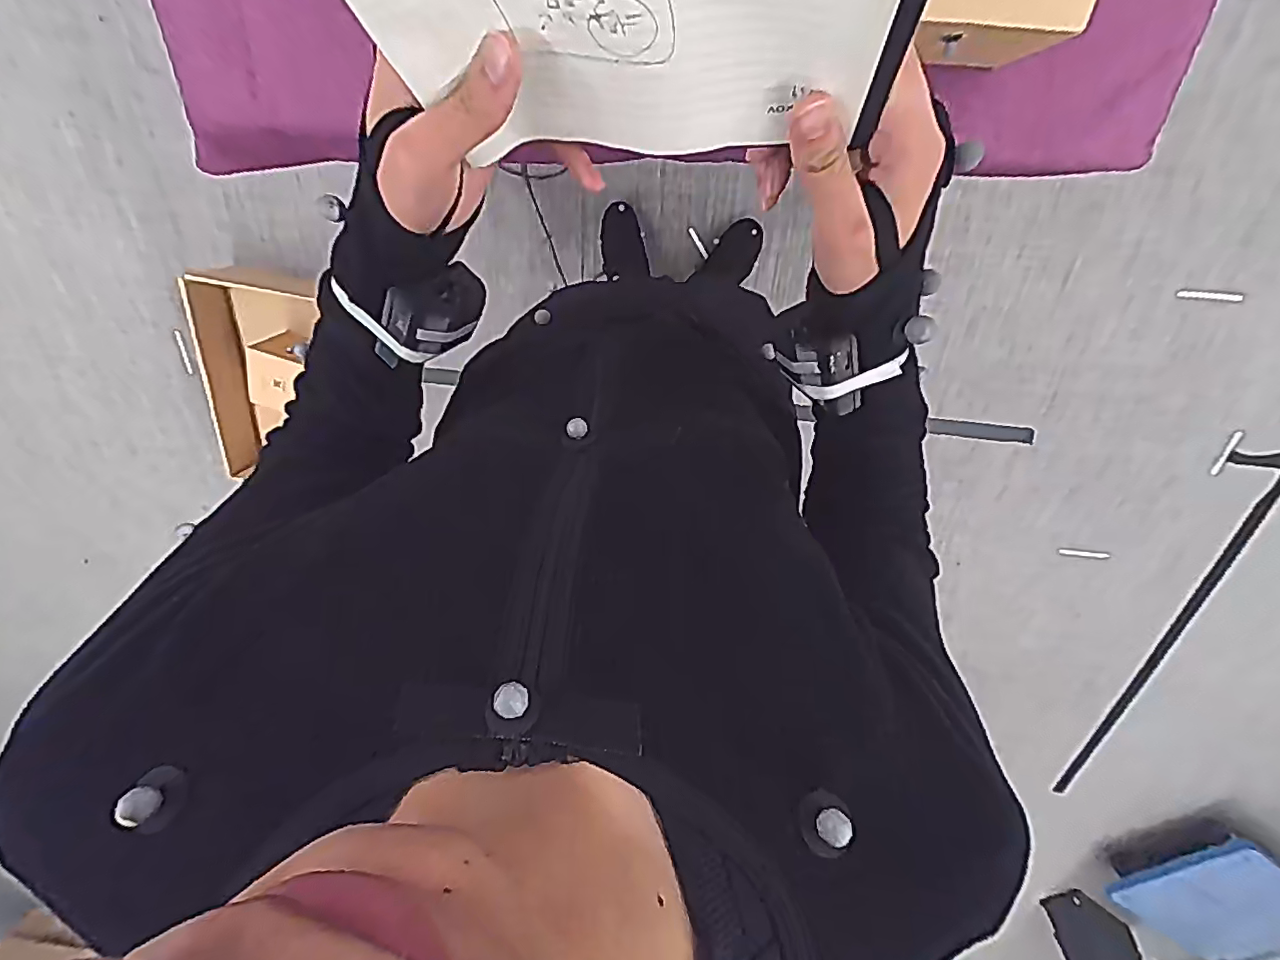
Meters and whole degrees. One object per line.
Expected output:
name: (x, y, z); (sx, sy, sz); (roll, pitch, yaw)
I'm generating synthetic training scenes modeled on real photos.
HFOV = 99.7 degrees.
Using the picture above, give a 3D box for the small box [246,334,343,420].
small box: (-0.976, -0.300, 1.543); (0.179, 0.176, 0.168); (17, 120, -4)

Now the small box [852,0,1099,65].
small box: (0.318, -0.509, 0.505); (0.179, 0.176, 0.168); (7, 120, 2)
